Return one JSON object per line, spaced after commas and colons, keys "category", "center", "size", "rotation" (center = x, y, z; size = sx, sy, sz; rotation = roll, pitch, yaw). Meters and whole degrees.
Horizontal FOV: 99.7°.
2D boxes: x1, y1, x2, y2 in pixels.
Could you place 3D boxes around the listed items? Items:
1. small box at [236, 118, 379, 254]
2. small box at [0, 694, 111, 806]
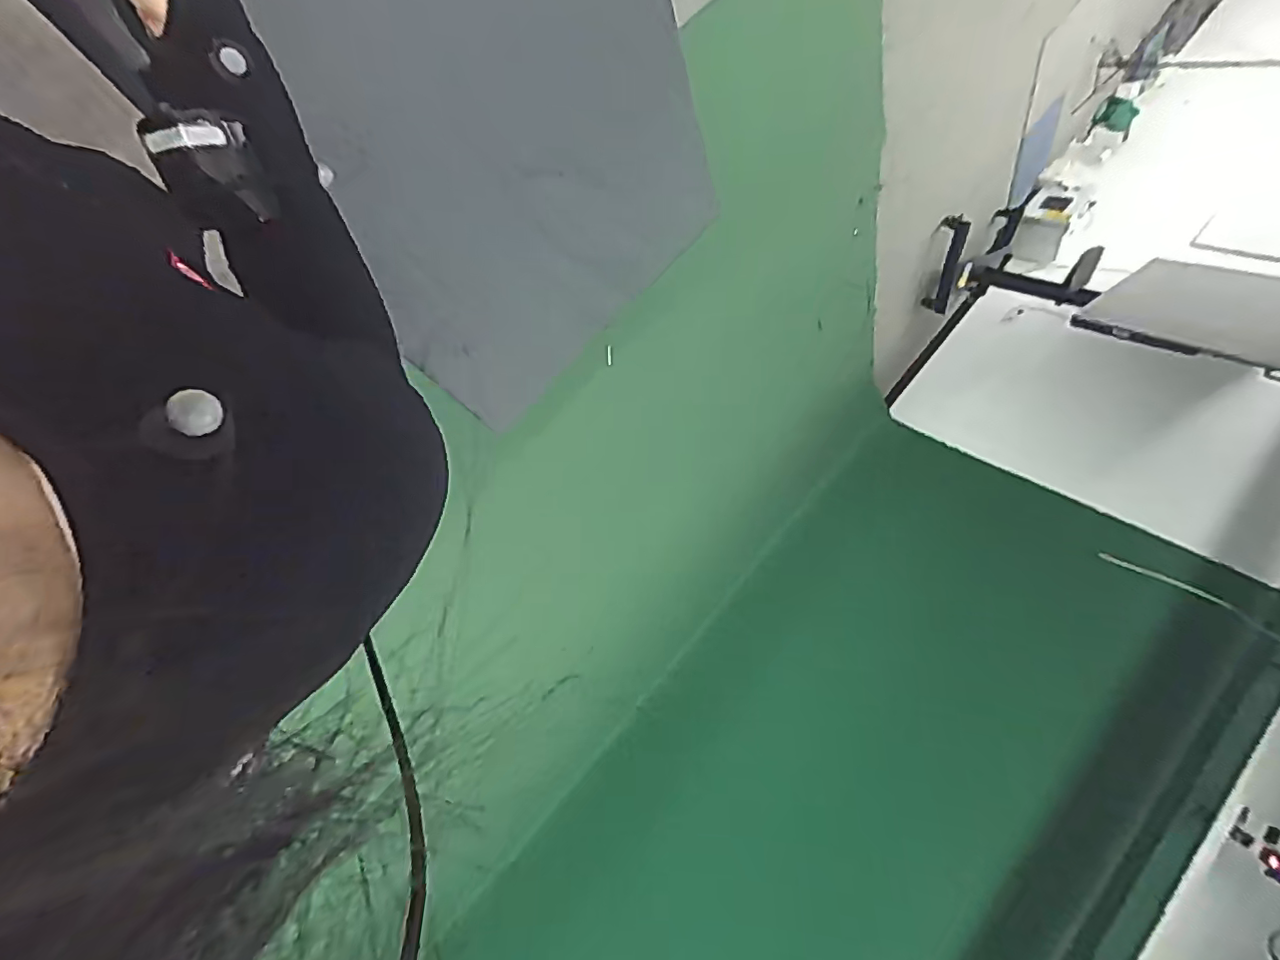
{"category": "small box", "center": [-0.685, -0.603, 1.108], "size": [0.179, 0.176, 0.168], "rotation": [-51, 145, -6]}
{"category": "small box", "center": [-1.405, 0.624, 1.274], "size": [0.179, 0.176, 0.168], "rotation": [-56, 145, 3]}
